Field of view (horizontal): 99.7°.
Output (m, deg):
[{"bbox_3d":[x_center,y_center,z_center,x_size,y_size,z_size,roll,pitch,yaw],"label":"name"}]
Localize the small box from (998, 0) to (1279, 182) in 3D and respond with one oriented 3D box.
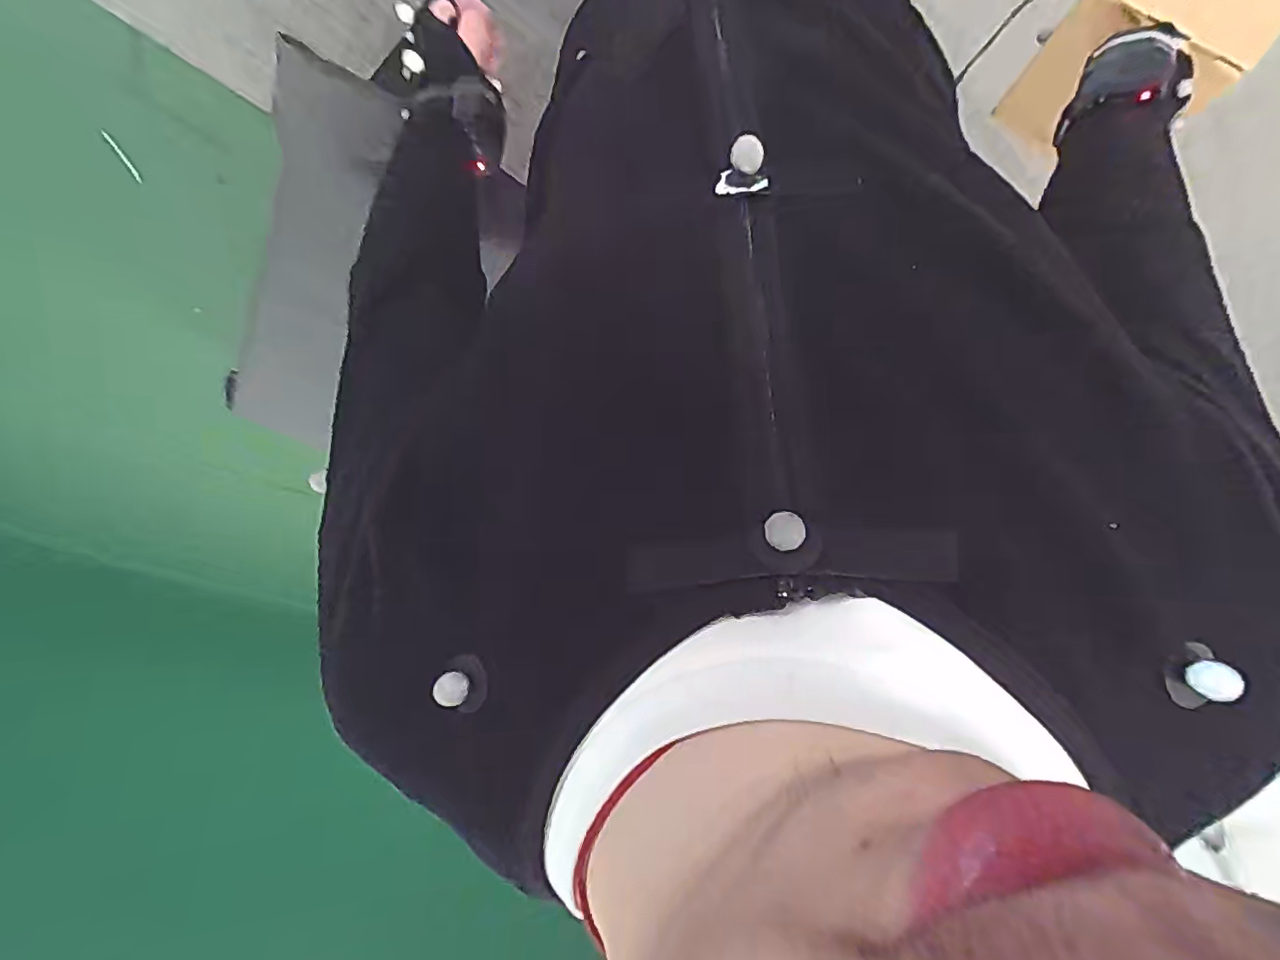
[{"bbox_3d":[0.543,-0.478,0.594,0.168,0.179,0.176,40,178,6],"label":"small box"}]
